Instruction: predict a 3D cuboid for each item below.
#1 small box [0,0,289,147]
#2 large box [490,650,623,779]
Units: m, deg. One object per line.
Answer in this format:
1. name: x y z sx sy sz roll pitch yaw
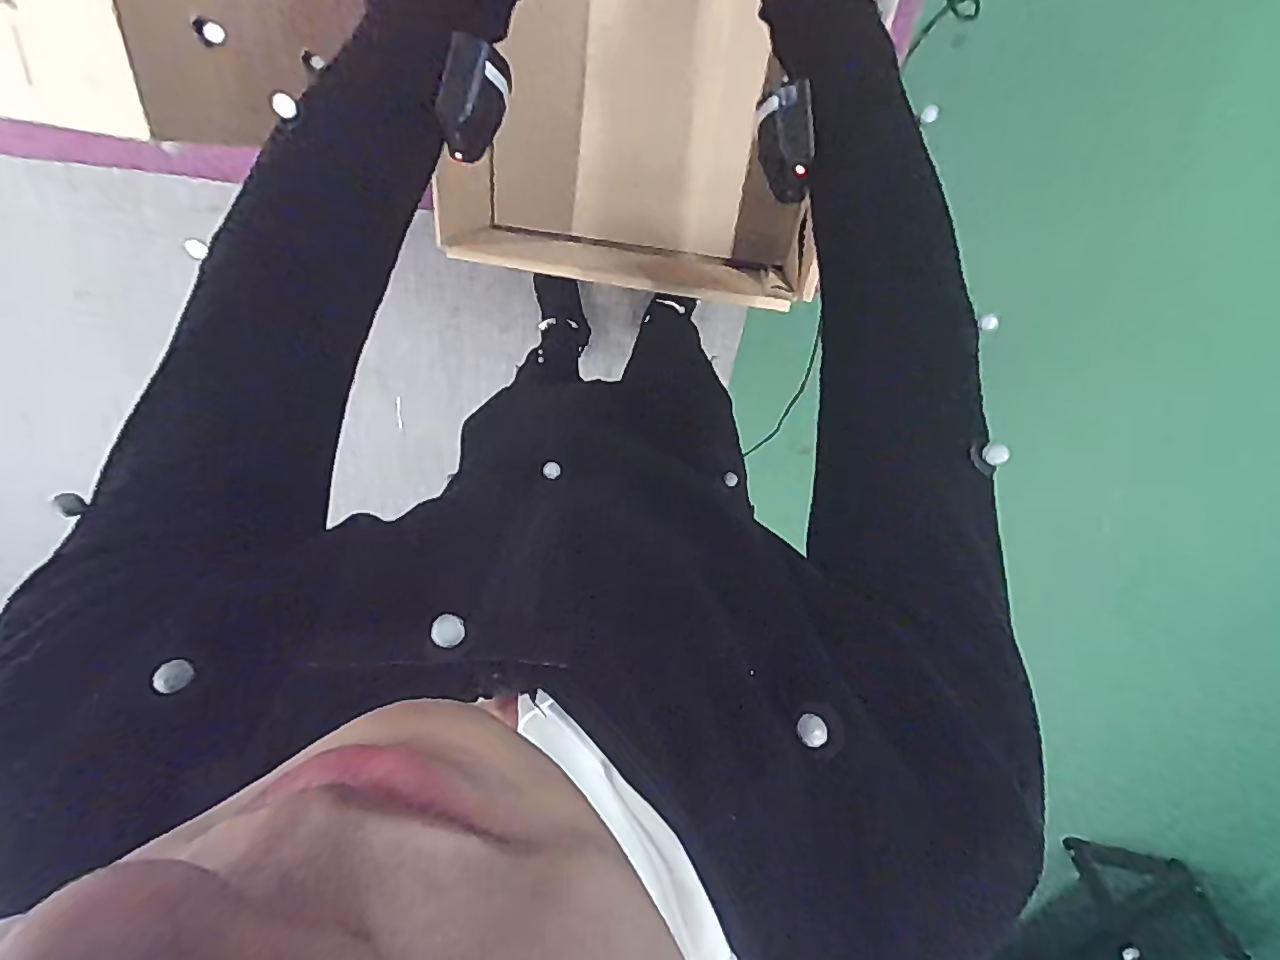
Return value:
1. small box: -0.423 -0.384 0.434 0.168 0.176 0.179 11 121 0
2. large box: -0.323 0.946 2.187 0.408 0.320 0.320 -20 118 16
